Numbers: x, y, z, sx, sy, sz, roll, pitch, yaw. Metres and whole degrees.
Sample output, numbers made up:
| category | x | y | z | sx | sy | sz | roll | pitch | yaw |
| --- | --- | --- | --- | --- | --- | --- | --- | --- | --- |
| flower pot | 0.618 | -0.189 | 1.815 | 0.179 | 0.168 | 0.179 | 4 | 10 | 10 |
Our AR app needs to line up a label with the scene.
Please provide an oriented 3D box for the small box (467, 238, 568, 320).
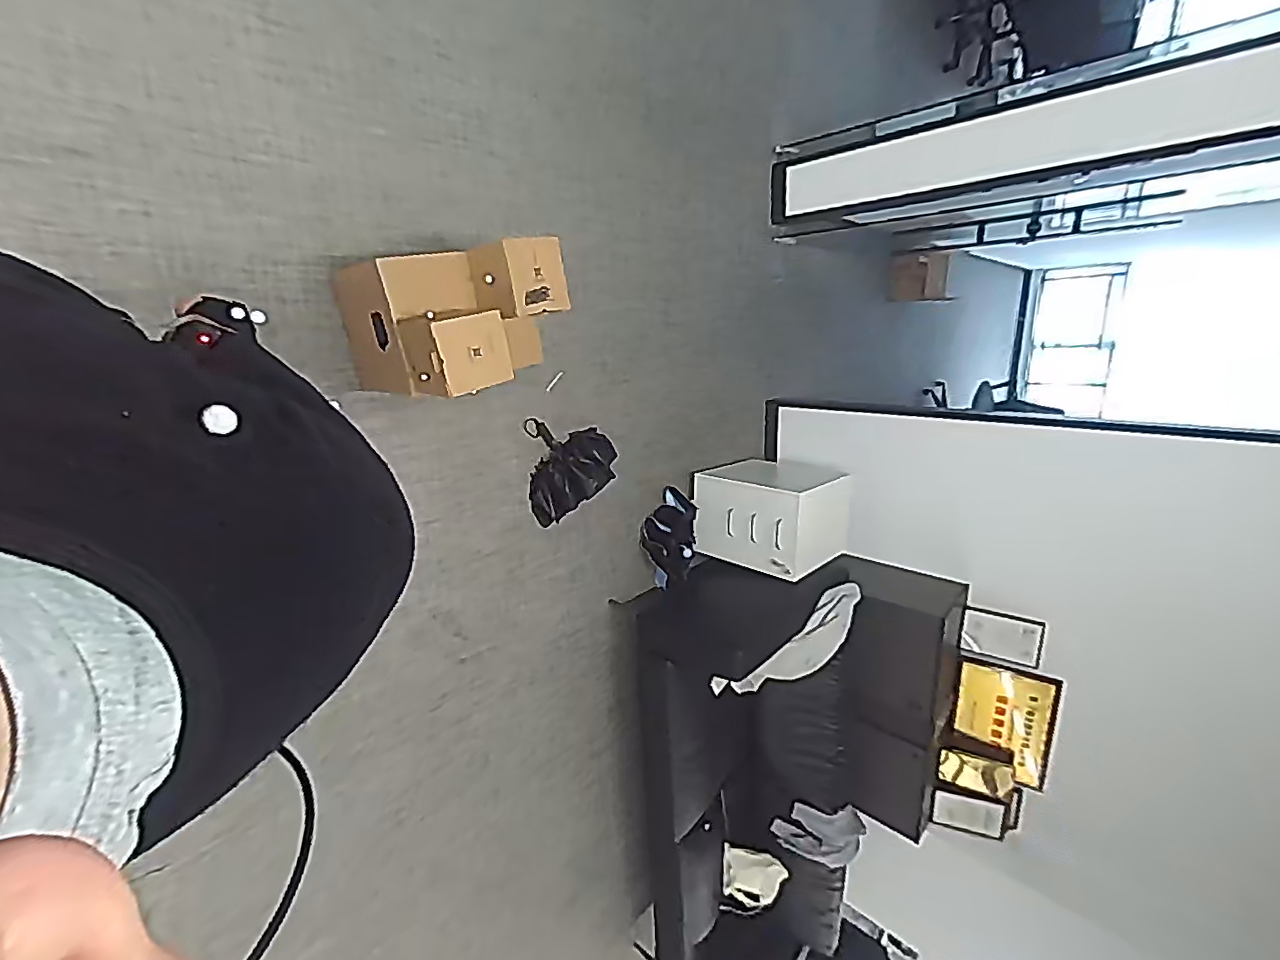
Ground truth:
| category | x | y | z | sx | sy | sz | roll | pitch | yaw |
| --- | --- | --- | --- | --- | --- | --- | --- | --- | --- |
| small box | -0.308 | -0.500 | 1.358 | 0.168 | 0.176 | 0.179 | -26 | 114 | -42 |

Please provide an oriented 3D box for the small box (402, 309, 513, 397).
| category | x | y | z | sx | sy | sz | roll | pitch | yaw |
| --- | --- | --- | --- | --- | --- | --- | --- | --- | --- |
| small box | -0.432 | -0.301 | 1.268 | 0.179 | 0.176 | 0.168 | -31 | 124 | -41 |
